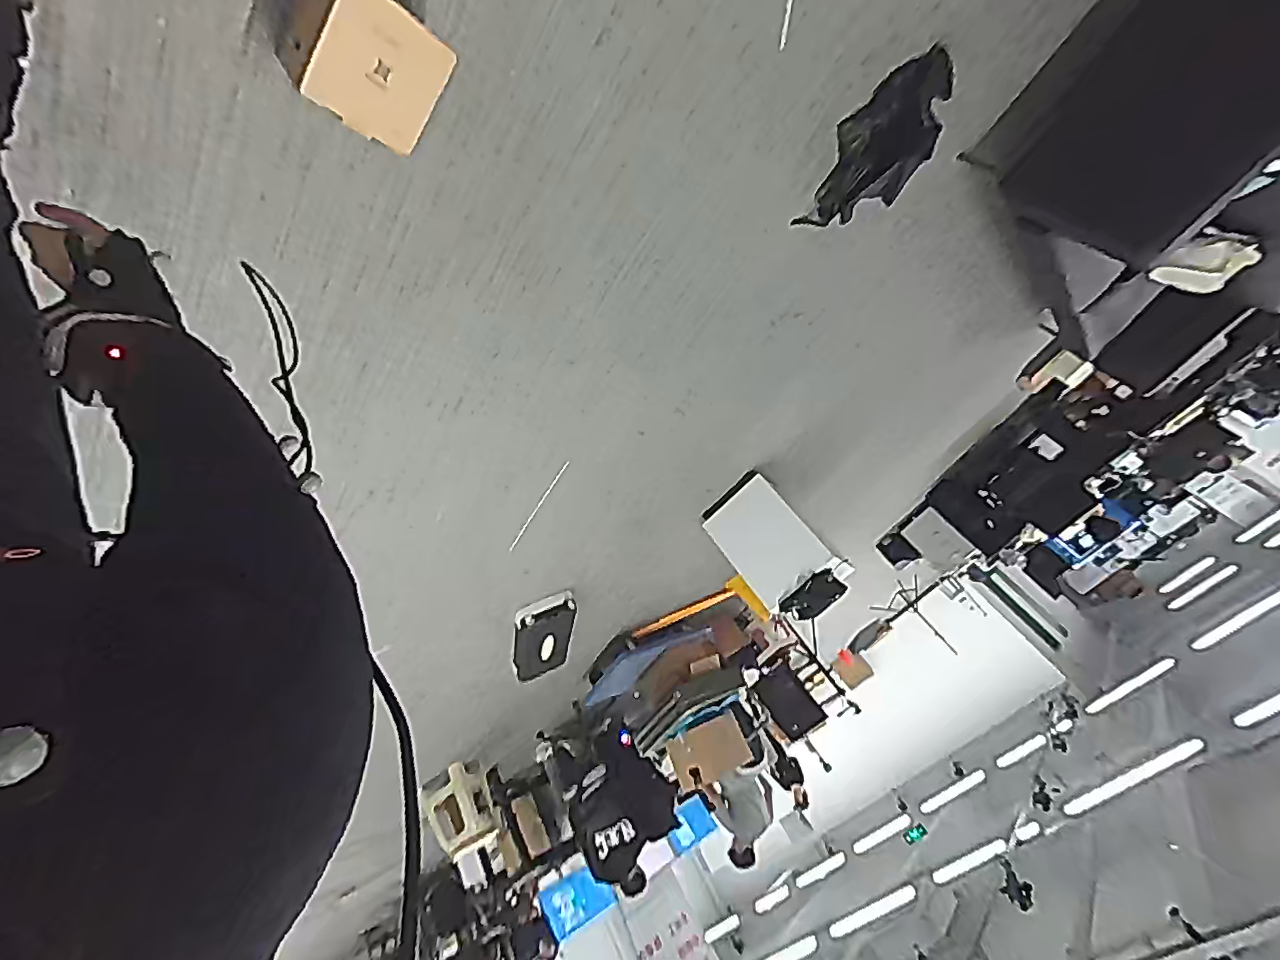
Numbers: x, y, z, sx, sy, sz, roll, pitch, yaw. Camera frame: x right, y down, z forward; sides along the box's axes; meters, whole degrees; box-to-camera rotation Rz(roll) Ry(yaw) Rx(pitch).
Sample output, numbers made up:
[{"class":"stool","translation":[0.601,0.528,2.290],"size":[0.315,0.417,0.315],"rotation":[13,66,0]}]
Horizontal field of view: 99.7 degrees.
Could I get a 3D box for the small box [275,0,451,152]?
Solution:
[{"class":"small box","translation":[-0.424,-0.654,0.818],"size":[0.179,0.176,0.168],"rotation":[-50,149,20]}]
